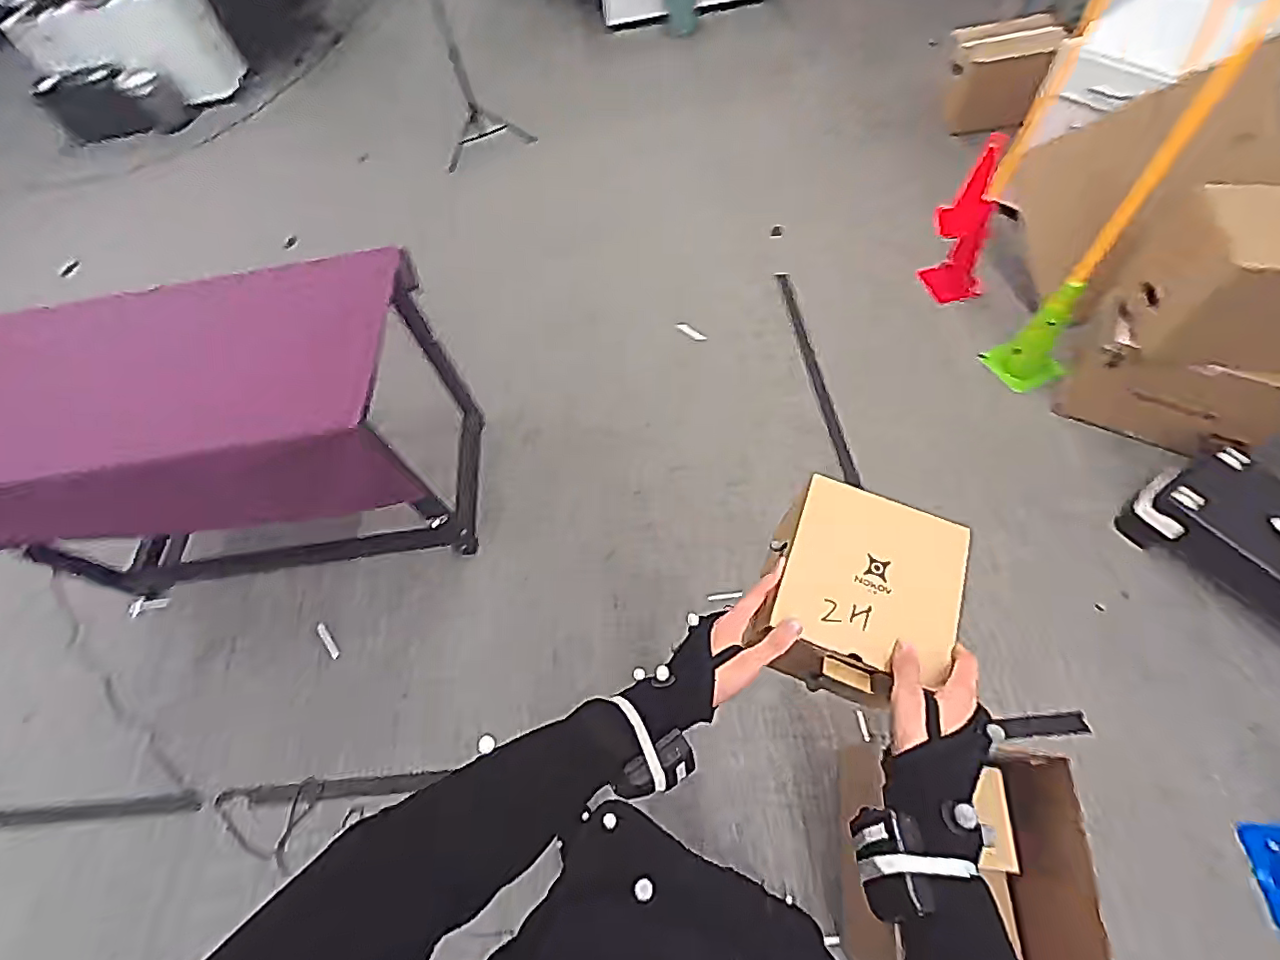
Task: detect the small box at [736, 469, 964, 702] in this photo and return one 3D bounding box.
[{"bbox_3d":[0.215,0.122,0.587,0.168,0.176,0.179,21,66,9],"label":"small box"}]
